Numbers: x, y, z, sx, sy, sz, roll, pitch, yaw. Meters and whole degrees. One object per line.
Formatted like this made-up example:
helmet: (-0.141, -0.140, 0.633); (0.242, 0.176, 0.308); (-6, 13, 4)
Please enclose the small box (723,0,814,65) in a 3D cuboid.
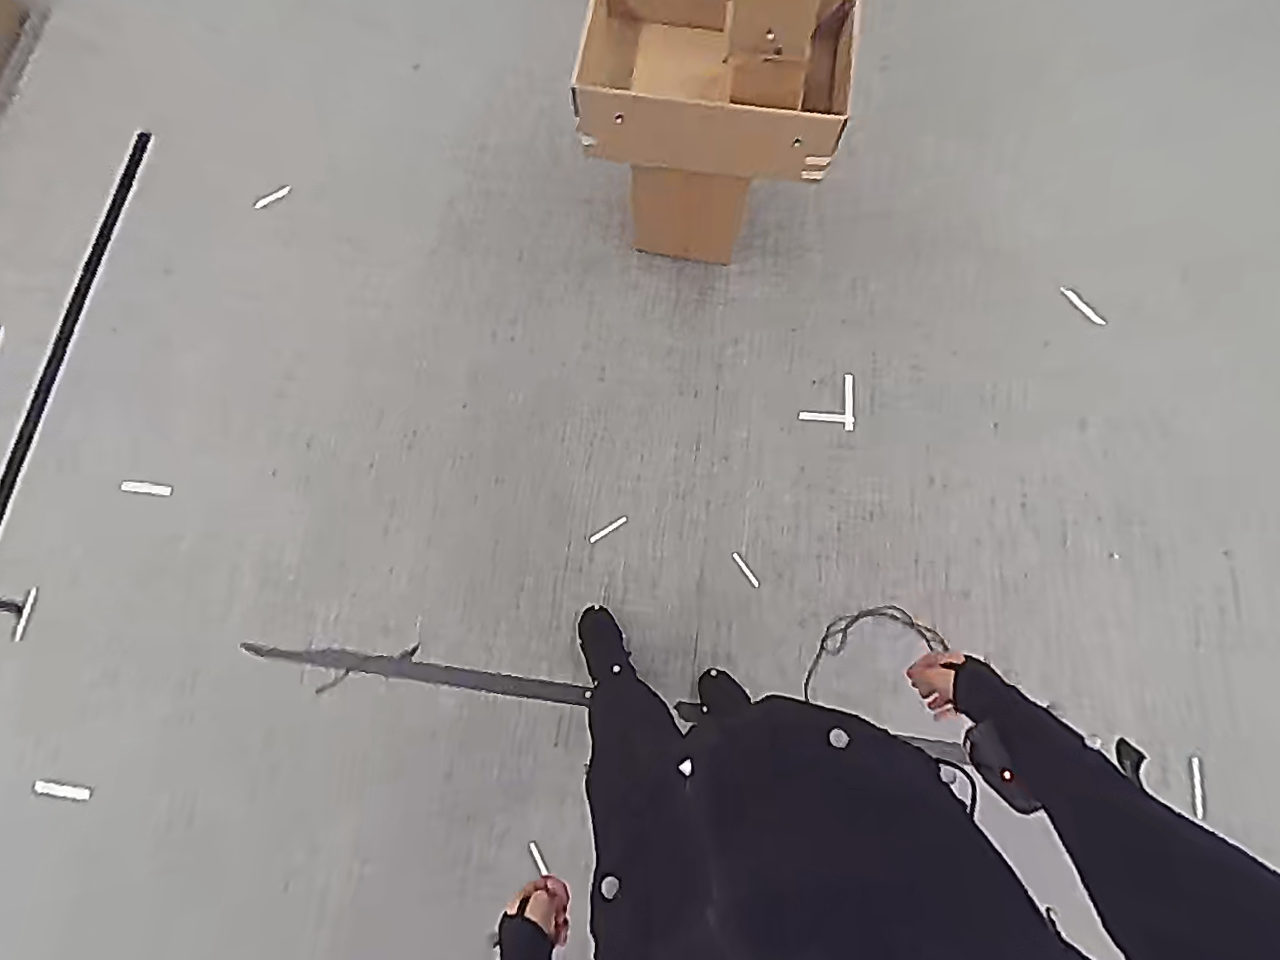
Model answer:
small box: (0.263, -0.998, 1.098); (0.168, 0.176, 0.179); (6, 77, 4)
